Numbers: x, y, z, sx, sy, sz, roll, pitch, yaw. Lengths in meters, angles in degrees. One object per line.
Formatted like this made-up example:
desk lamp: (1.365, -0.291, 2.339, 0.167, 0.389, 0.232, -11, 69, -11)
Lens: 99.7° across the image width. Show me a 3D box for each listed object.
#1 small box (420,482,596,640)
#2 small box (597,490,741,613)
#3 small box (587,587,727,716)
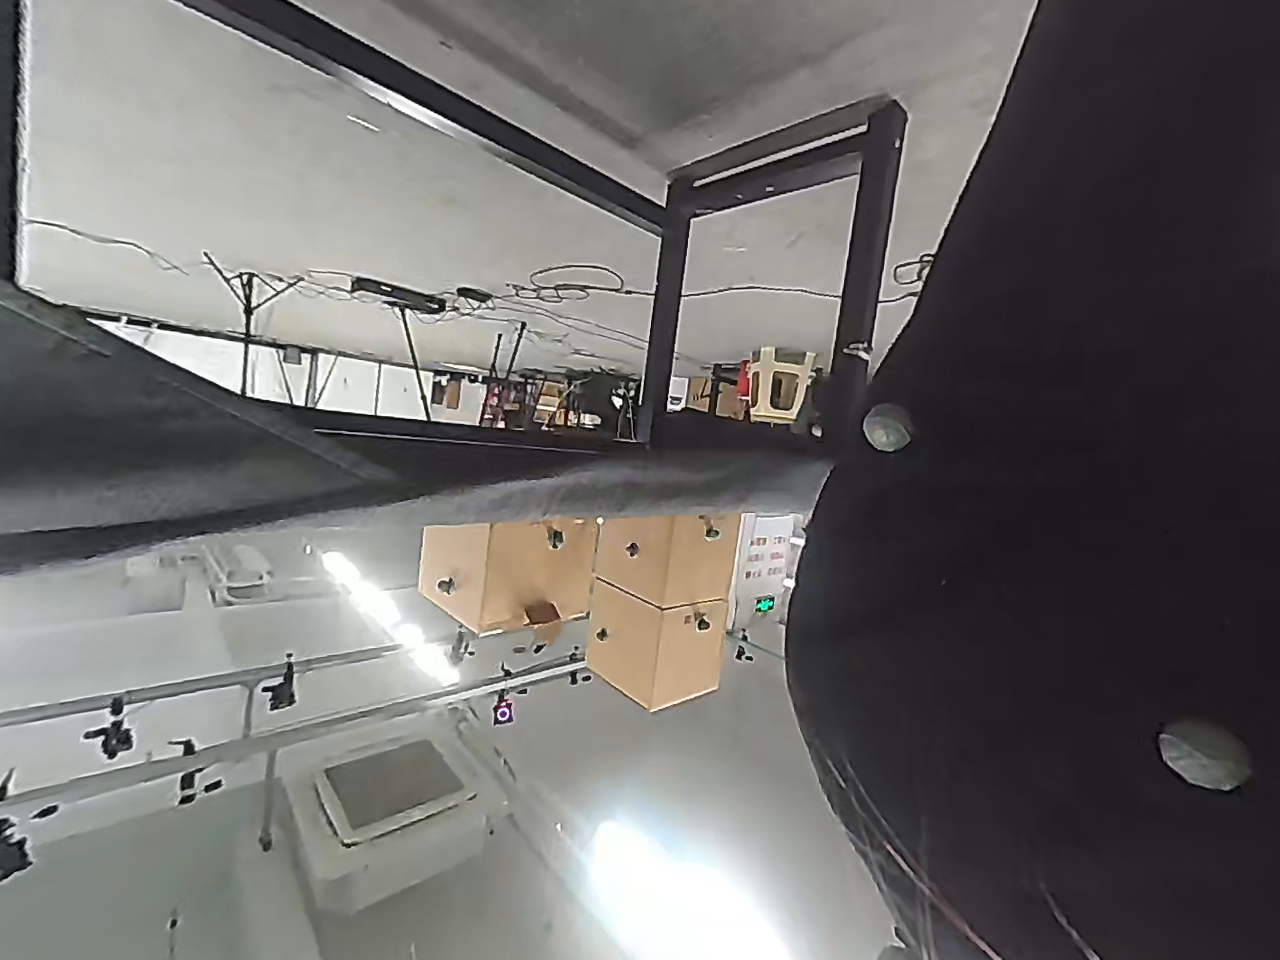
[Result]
small box: (-0.176, 0.095, 0.732, 0.168, 0.176, 0.179, 3, -174, -45)
small box: (0.051, 0.109, 0.918, 0.168, 0.176, 0.179, 3, -174, -41)
small box: (0.031, 0.270, 0.931, 0.168, 0.176, 0.179, 1, -173, -41)
